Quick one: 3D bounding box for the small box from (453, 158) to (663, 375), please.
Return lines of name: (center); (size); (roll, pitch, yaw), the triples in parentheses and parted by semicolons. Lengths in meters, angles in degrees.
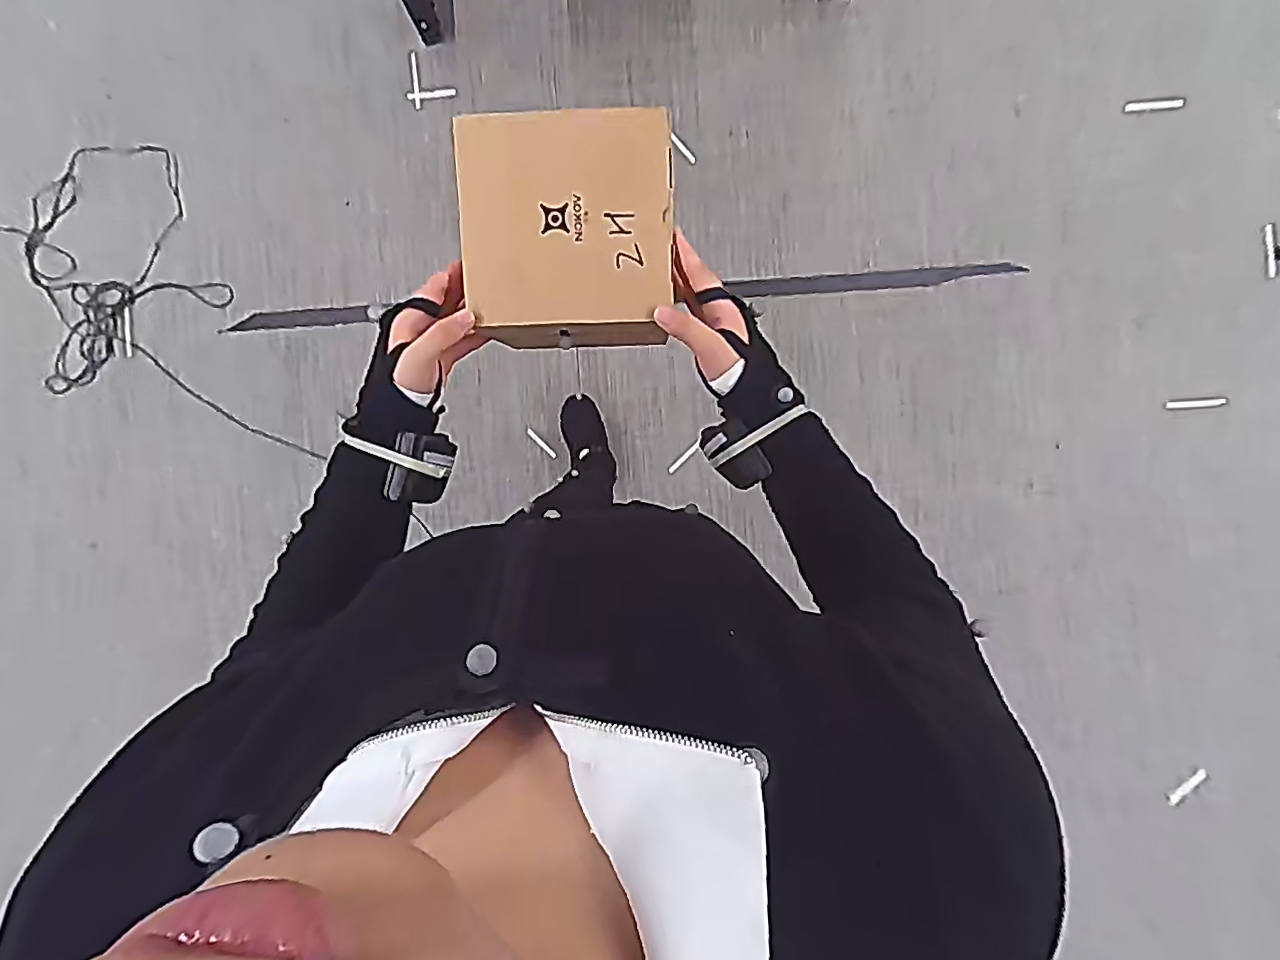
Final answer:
small box: (-0.067, -0.193, 0.534); (0.179, 0.176, 0.168); (-1, 98, 1)
